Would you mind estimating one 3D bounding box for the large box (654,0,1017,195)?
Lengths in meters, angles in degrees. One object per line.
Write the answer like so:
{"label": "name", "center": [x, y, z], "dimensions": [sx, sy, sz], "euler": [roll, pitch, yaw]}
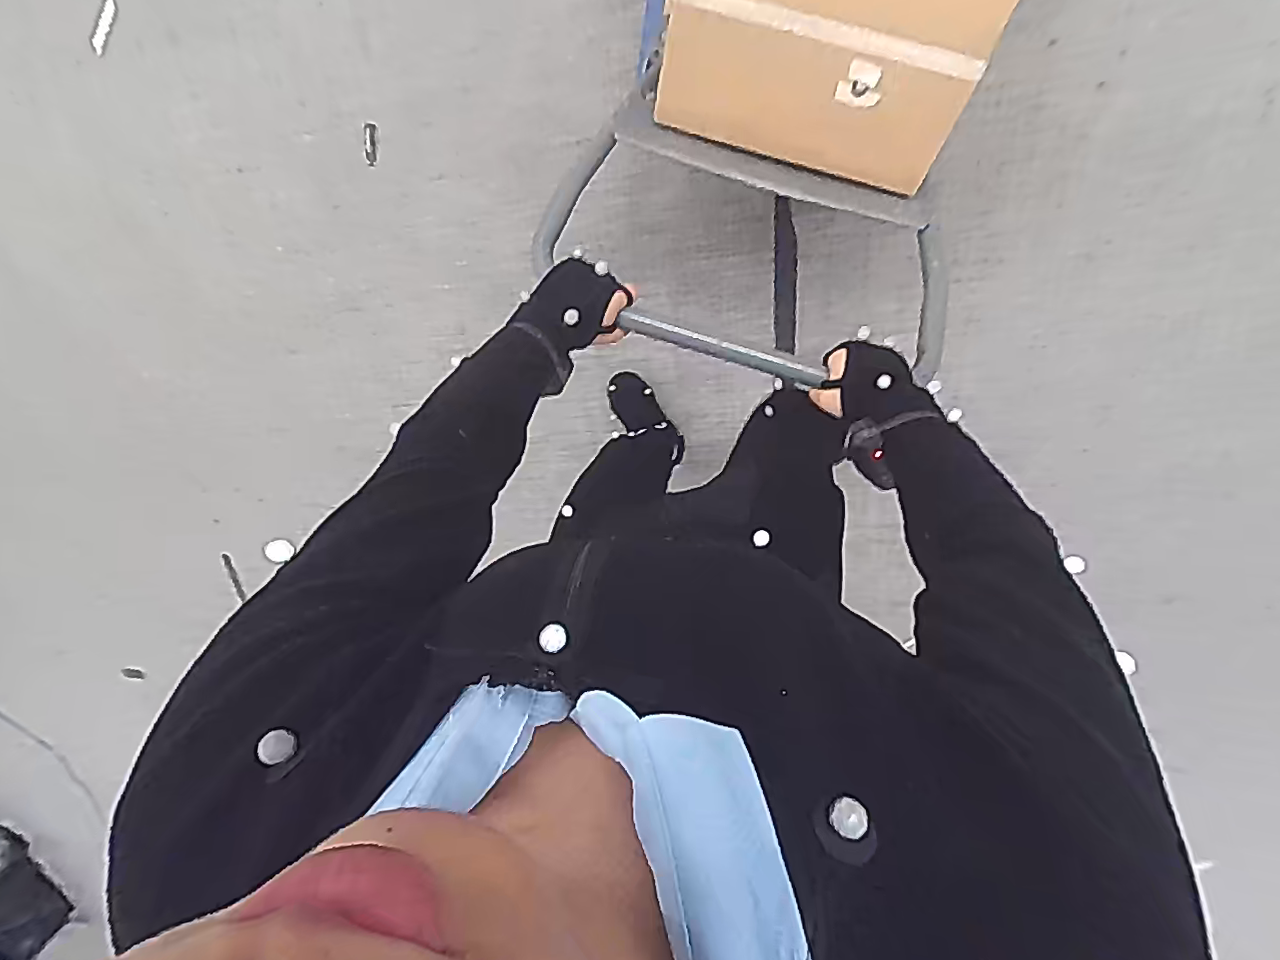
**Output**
{"label": "large box", "center": [0.265, -0.671, 0.775], "dimensions": [0.408, 0.320, 0.320], "euler": [17, 141, 1]}
